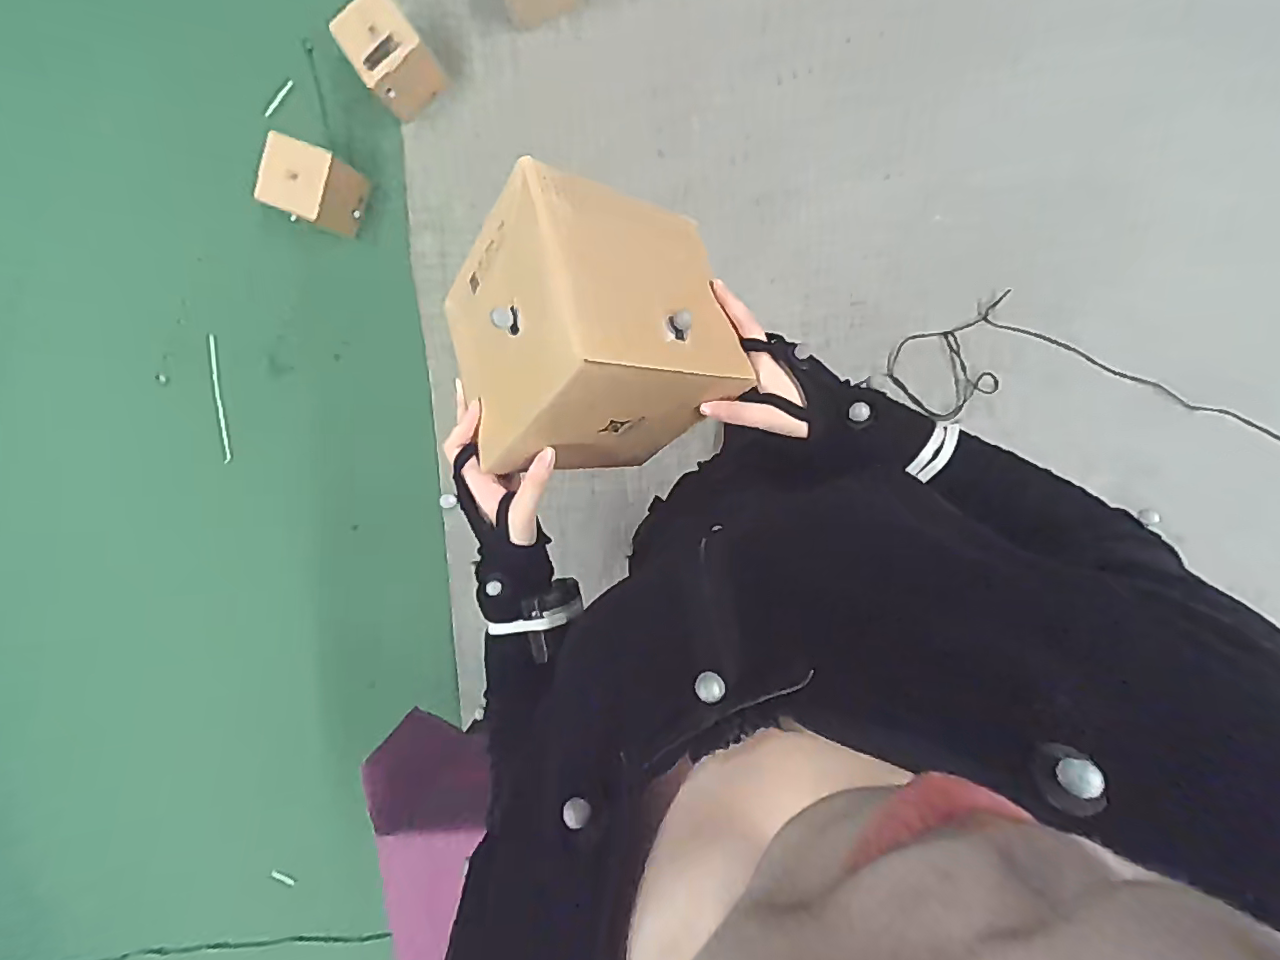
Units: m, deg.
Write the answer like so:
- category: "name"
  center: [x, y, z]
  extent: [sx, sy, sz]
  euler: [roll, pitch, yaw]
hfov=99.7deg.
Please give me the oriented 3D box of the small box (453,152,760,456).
- category: "small box"
  center: [-0.038, -0.132, 0.455]
  extent: [0.168, 0.179, 0.176]
  euler: [-33, 68, 45]

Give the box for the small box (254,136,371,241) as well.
- category: "small box"
  center: [-0.846, -0.749, 1.410]
  extent: [0.179, 0.176, 0.168]
  euler: [22, 99, 3]
